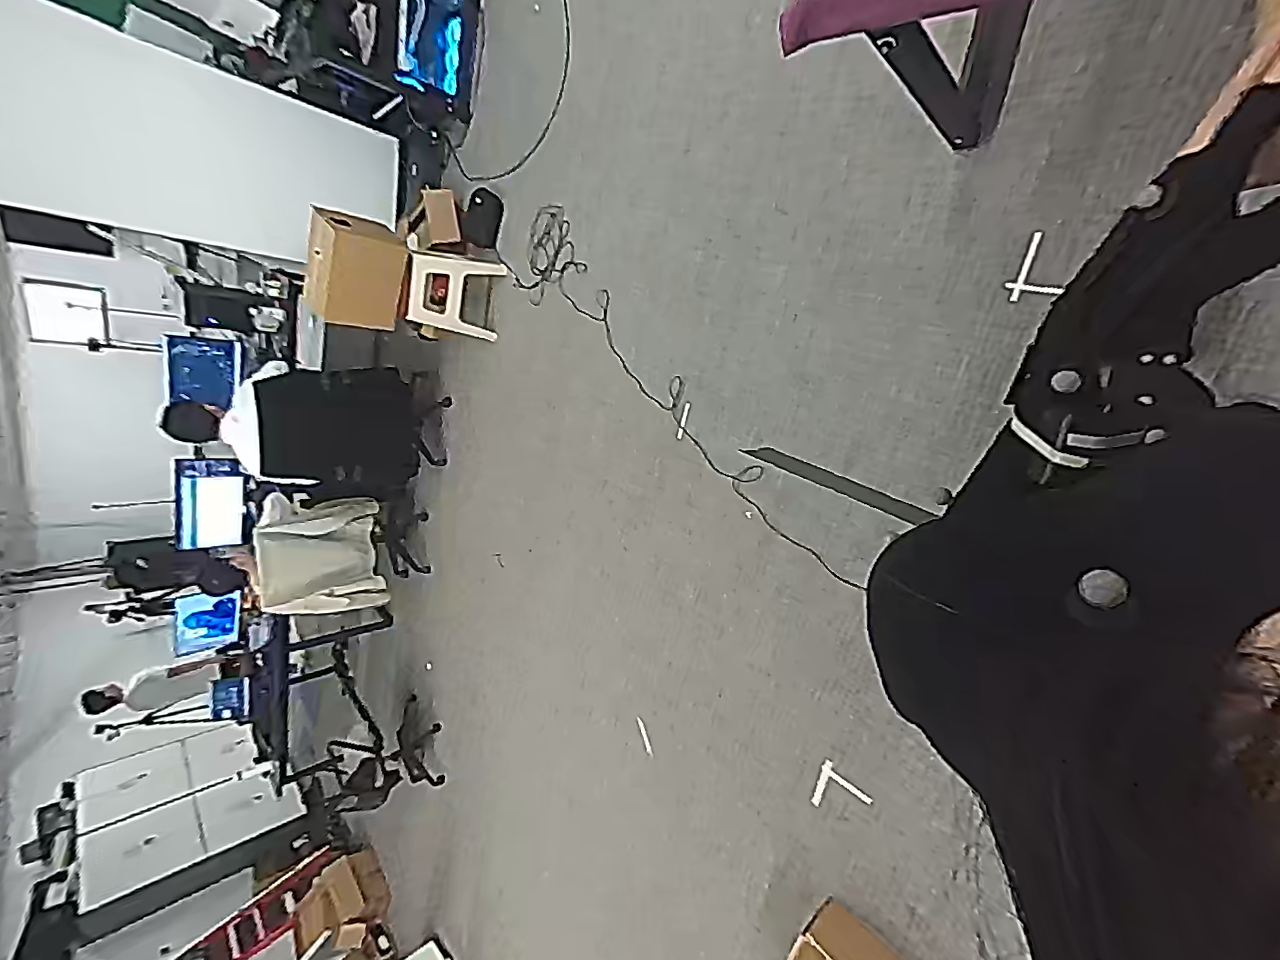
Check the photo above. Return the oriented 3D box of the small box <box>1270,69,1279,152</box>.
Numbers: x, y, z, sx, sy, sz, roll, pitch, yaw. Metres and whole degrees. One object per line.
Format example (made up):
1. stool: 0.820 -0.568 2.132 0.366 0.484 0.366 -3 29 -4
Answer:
1. small box: 0.412 -0.257 0.222 0.168 0.176 0.179 4 108 38
